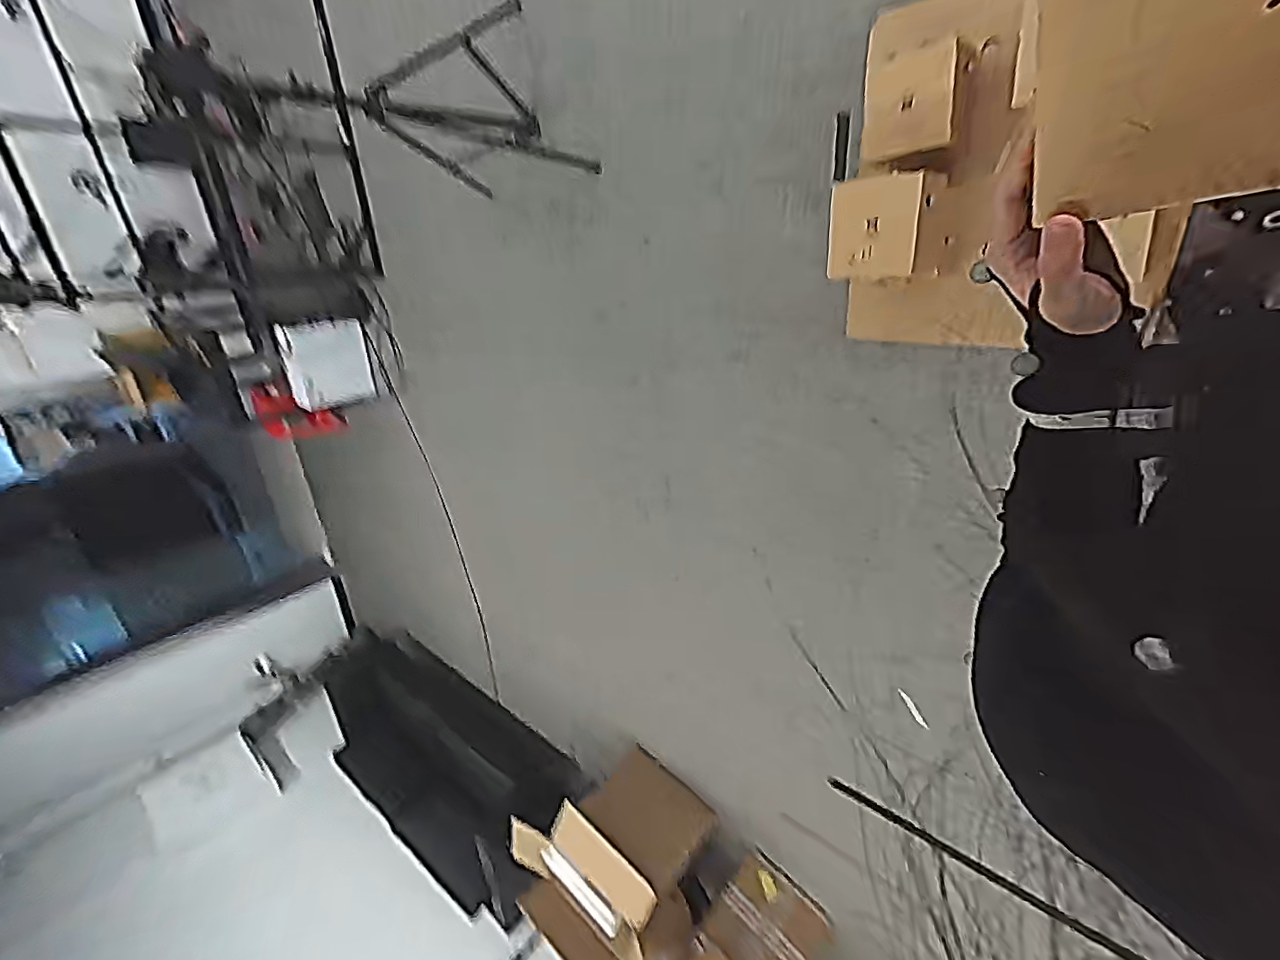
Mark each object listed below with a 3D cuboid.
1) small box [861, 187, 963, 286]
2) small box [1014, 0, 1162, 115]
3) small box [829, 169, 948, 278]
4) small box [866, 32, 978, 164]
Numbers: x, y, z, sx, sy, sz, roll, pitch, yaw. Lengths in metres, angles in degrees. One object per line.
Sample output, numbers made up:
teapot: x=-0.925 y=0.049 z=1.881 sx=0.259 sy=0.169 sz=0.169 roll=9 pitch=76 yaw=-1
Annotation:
small box: x=0.599 y=-0.536 z=1.192 sx=0.168 sy=0.176 sz=0.179 roll=10 pitch=118 yaw=39
small box: x=0.768 y=-0.750 z=0.926 sx=0.179 sy=0.176 sz=0.168 roll=11 pitch=118 yaw=40
small box: x=0.491 y=-0.500 z=1.069 sx=0.168 sy=0.176 sz=0.179 roll=15 pitch=120 yaw=39
small box: x=0.575 y=-0.763 z=1.103 sx=0.168 sy=0.176 sz=0.179 roll=10 pitch=118 yaw=41
